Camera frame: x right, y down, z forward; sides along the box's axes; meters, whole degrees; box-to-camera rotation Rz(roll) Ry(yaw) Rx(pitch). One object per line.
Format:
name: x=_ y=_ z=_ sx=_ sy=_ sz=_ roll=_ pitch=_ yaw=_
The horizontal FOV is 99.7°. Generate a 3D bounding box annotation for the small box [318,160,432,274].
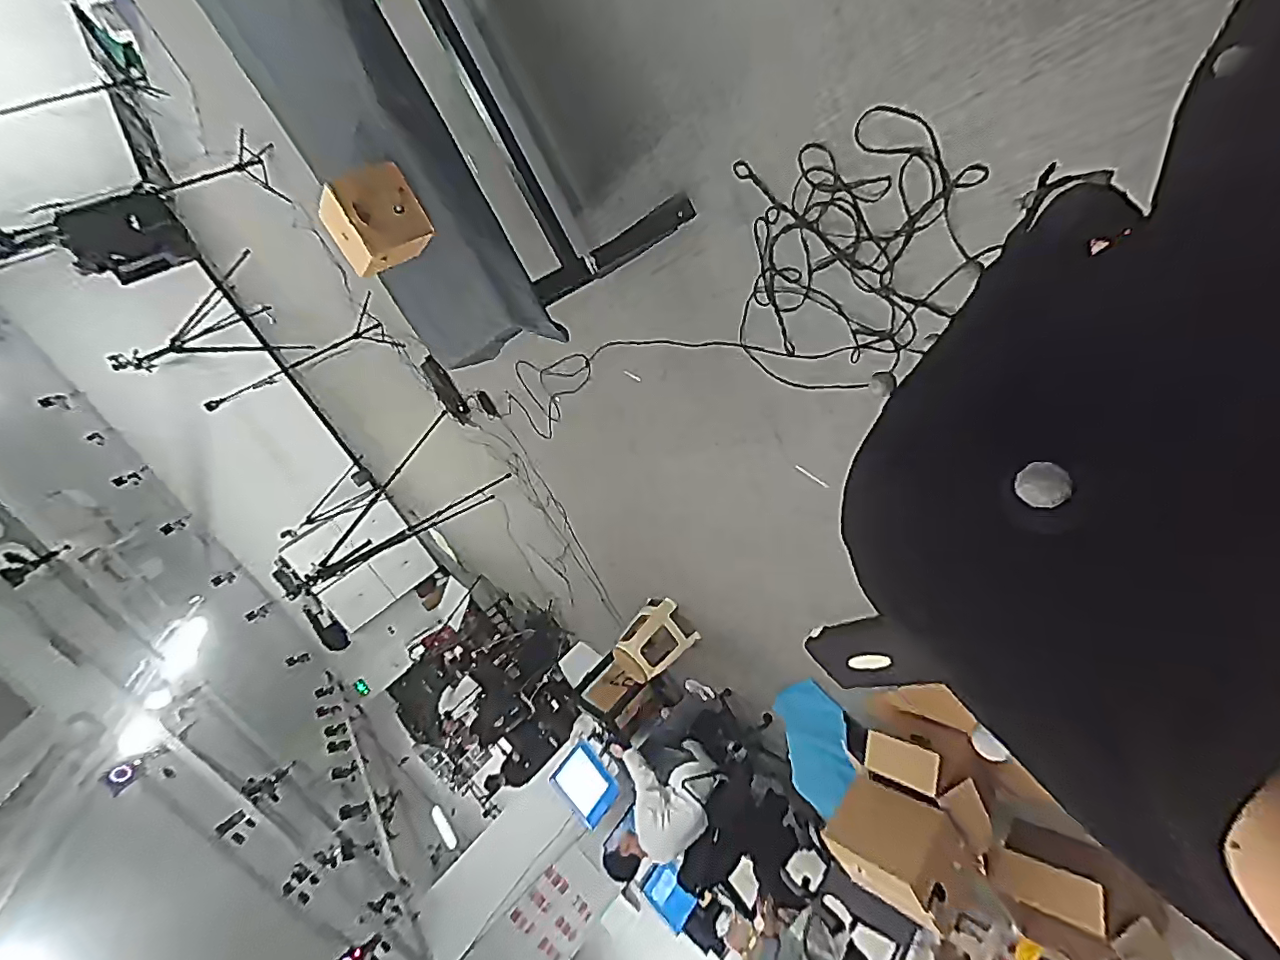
small box: x=-0.618 y=-0.614 z=1.268 sx=0.179 sy=0.176 sz=0.168 roll=0 pitch=124 yaw=54
